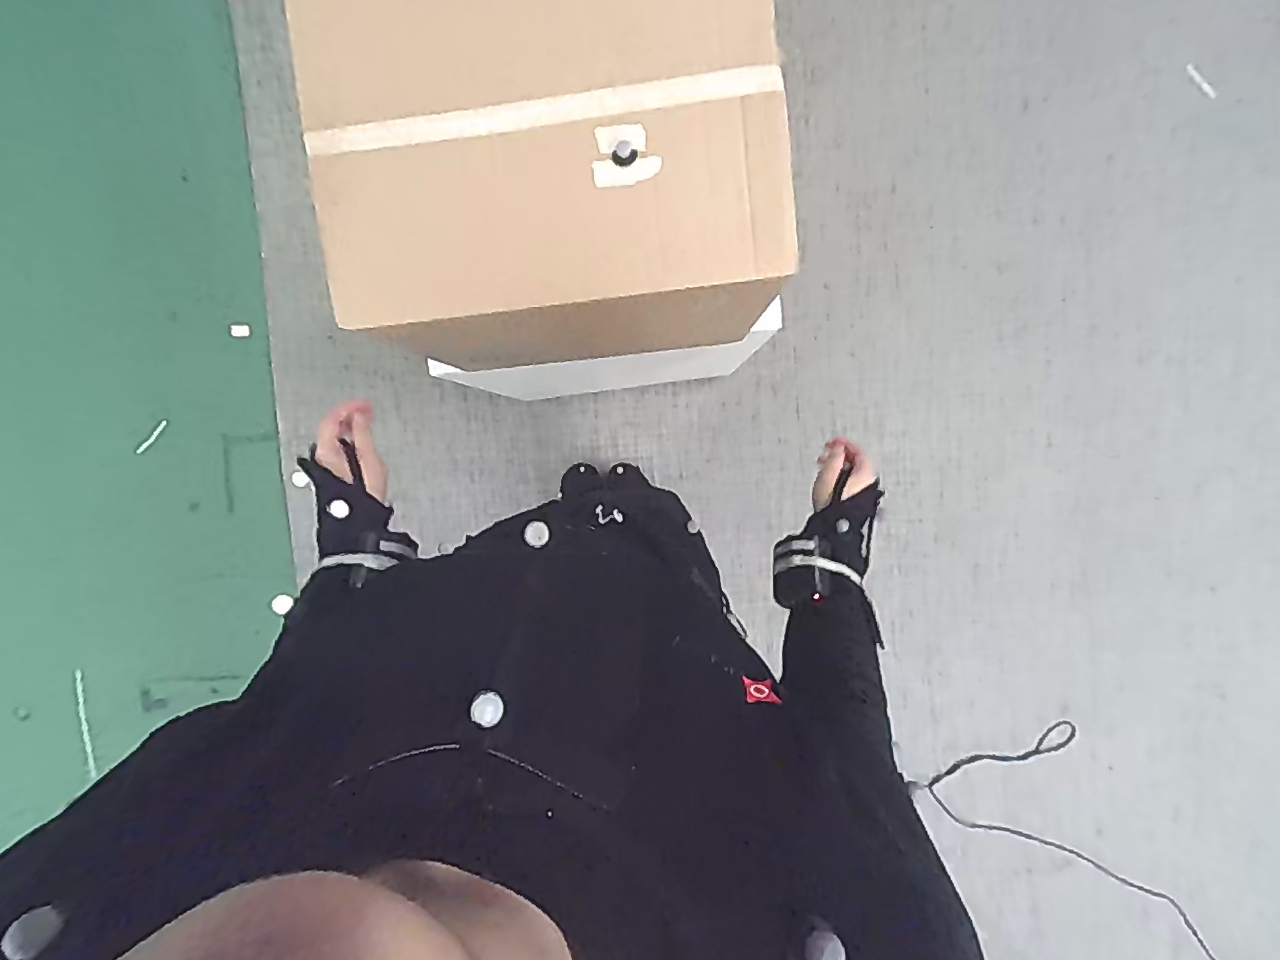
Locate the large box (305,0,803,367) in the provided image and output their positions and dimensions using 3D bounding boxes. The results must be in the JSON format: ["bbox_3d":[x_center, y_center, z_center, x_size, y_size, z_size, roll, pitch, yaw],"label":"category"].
[{"bbox_3d":[-0.072,-0.326,0.610,0.408,0.320,0.320,-7,95,1],"label":"large box"}]
